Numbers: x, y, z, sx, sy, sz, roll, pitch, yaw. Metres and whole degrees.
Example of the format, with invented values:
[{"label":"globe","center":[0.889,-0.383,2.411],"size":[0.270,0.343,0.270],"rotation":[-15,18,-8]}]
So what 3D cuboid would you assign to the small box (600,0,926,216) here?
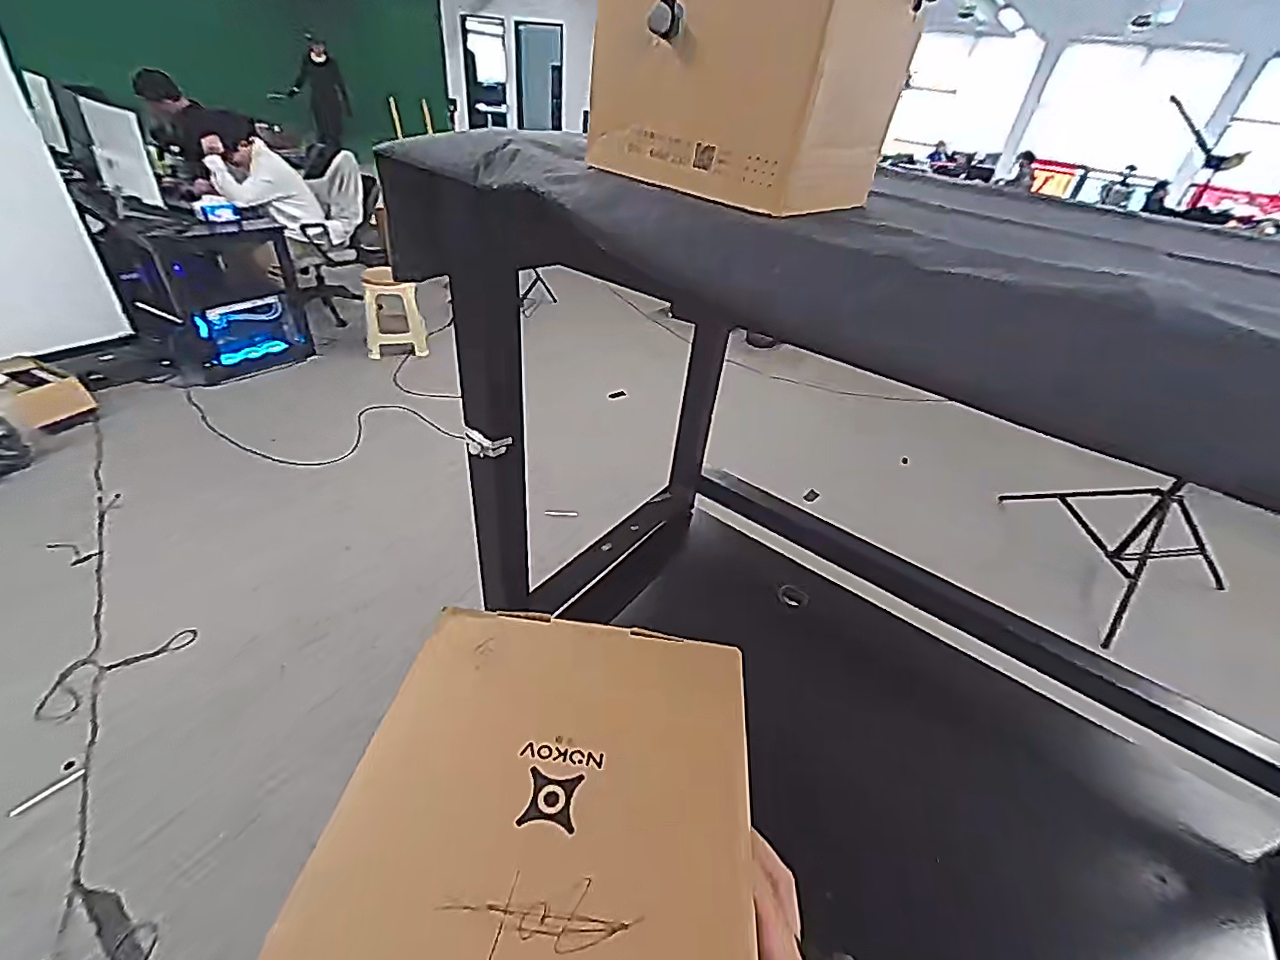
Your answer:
[{"label":"small box","center":[0.085,-0.297,0.388],"size":[0.168,0.176,0.179],"rotation":[30,39,25]}]
